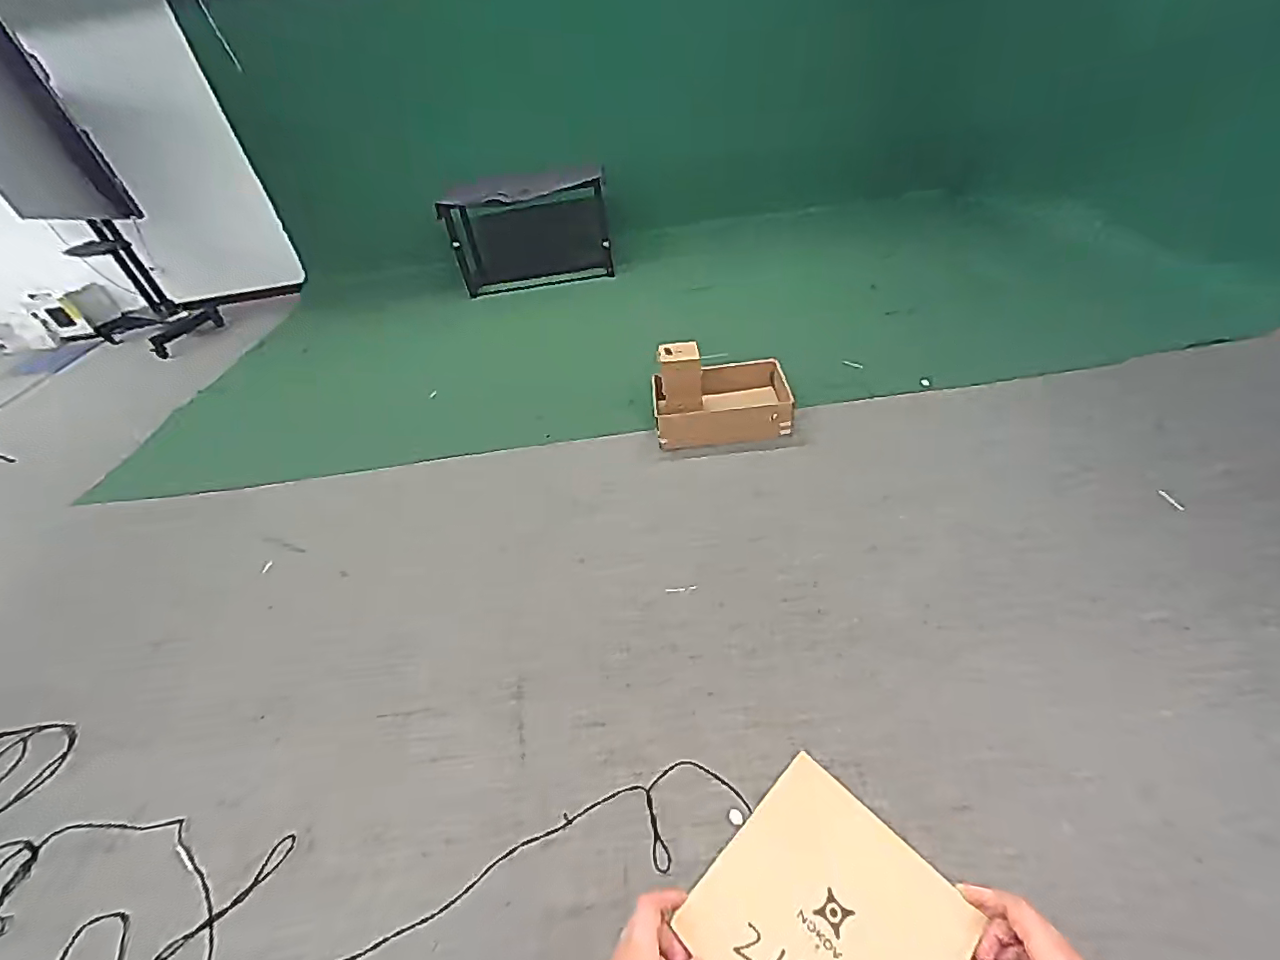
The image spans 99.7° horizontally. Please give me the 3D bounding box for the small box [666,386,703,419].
[{"bbox_3d":[0.210,-0.405,2.587,0.168,0.176,0.179,-7,41,3],"label":"small box"}]

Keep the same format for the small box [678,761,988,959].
[{"bbox_3d":[0.148,0.389,0.467,0.179,0.176,0.168,-39,56,-24],"label":"small box"}]

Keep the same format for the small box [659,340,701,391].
[{"bbox_3d":[0.184,-0.521,2.473,0.179,0.176,0.168,-6,41,3],"label":"small box"}]
